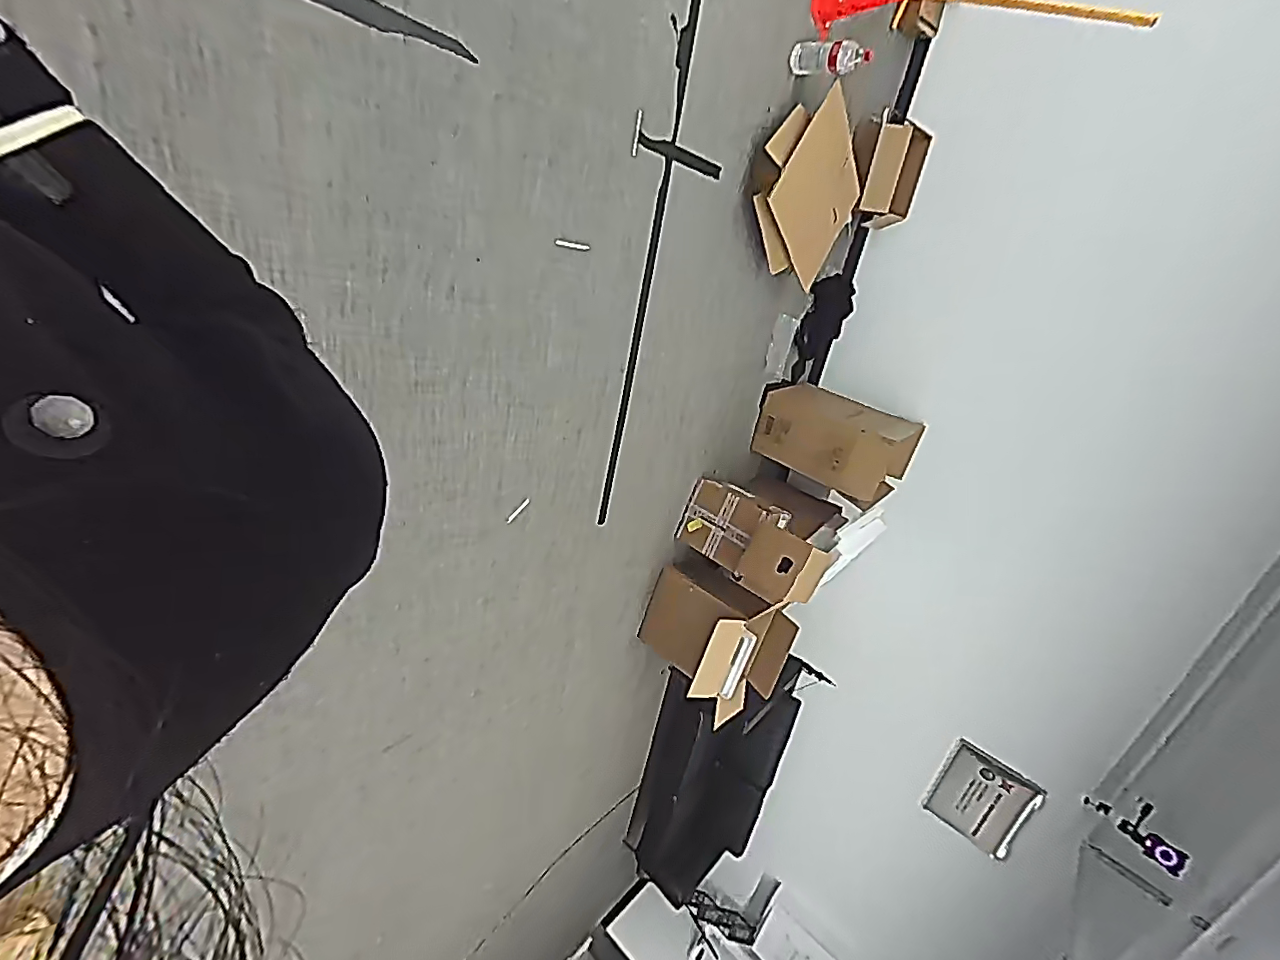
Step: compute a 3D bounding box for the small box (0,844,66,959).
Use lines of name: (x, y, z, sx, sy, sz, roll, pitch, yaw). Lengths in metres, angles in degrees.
small box: (-1.050, 0.737, 0.858, 0.168, 0.176, 0.179, -16, 124, -47)

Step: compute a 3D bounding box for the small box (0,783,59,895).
small box: (-1.174, 0.683, 0.948, 0.179, 0.176, 0.168, -17, 124, -46)
